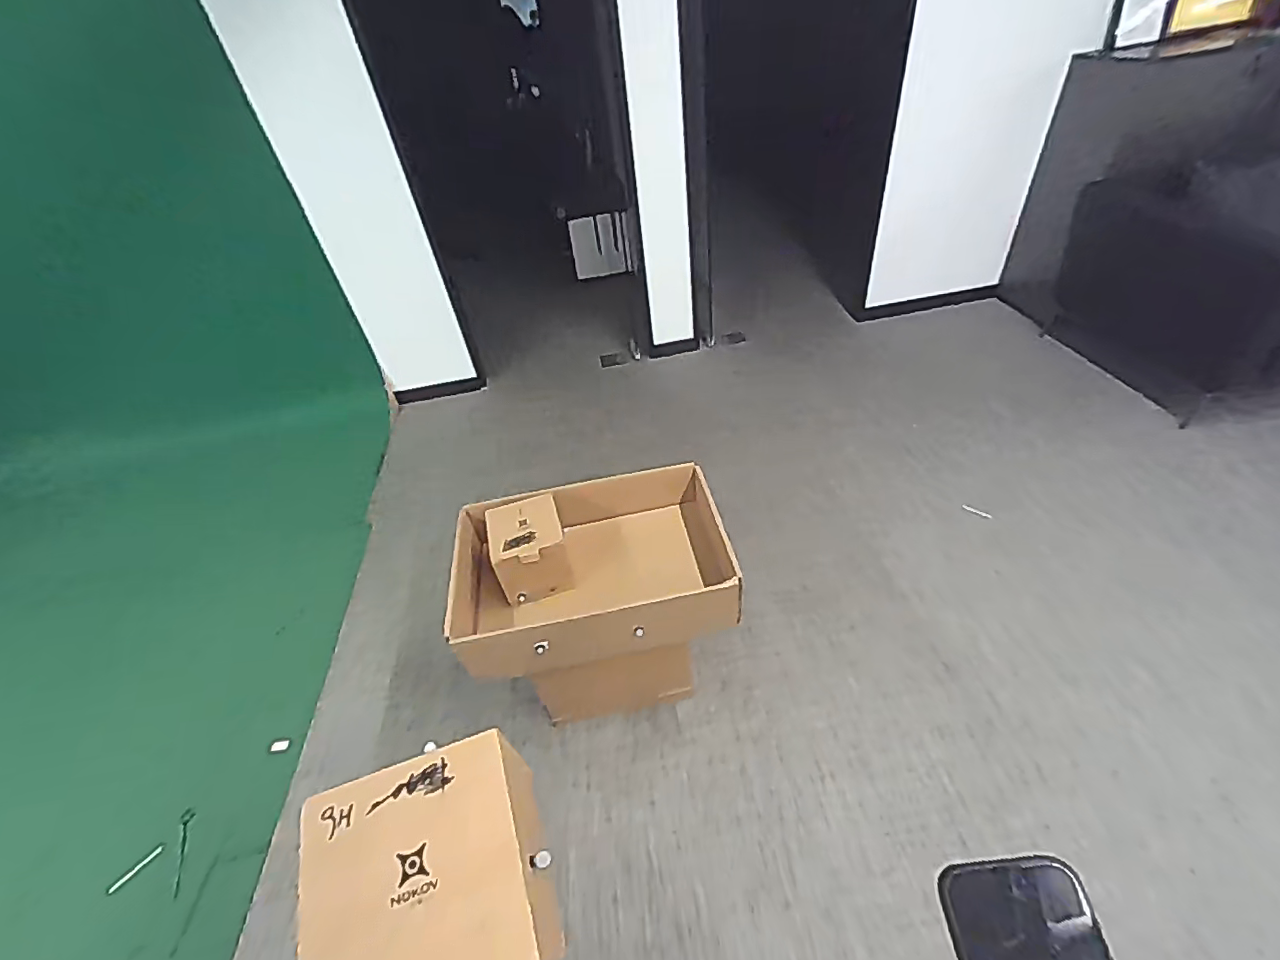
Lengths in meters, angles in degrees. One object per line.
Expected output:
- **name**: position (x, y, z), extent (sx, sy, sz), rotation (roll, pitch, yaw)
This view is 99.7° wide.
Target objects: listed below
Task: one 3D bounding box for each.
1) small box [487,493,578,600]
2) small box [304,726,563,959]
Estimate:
- **small box**: position (-0.255, 0.165, 1.295), extent (0.168, 0.176, 0.179), rotation (-16, 41, -8)
- **small box**: position (-0.174, 0.354, 0.486), extent (0.168, 0.176, 0.179), rotation (-16, 54, -12)
